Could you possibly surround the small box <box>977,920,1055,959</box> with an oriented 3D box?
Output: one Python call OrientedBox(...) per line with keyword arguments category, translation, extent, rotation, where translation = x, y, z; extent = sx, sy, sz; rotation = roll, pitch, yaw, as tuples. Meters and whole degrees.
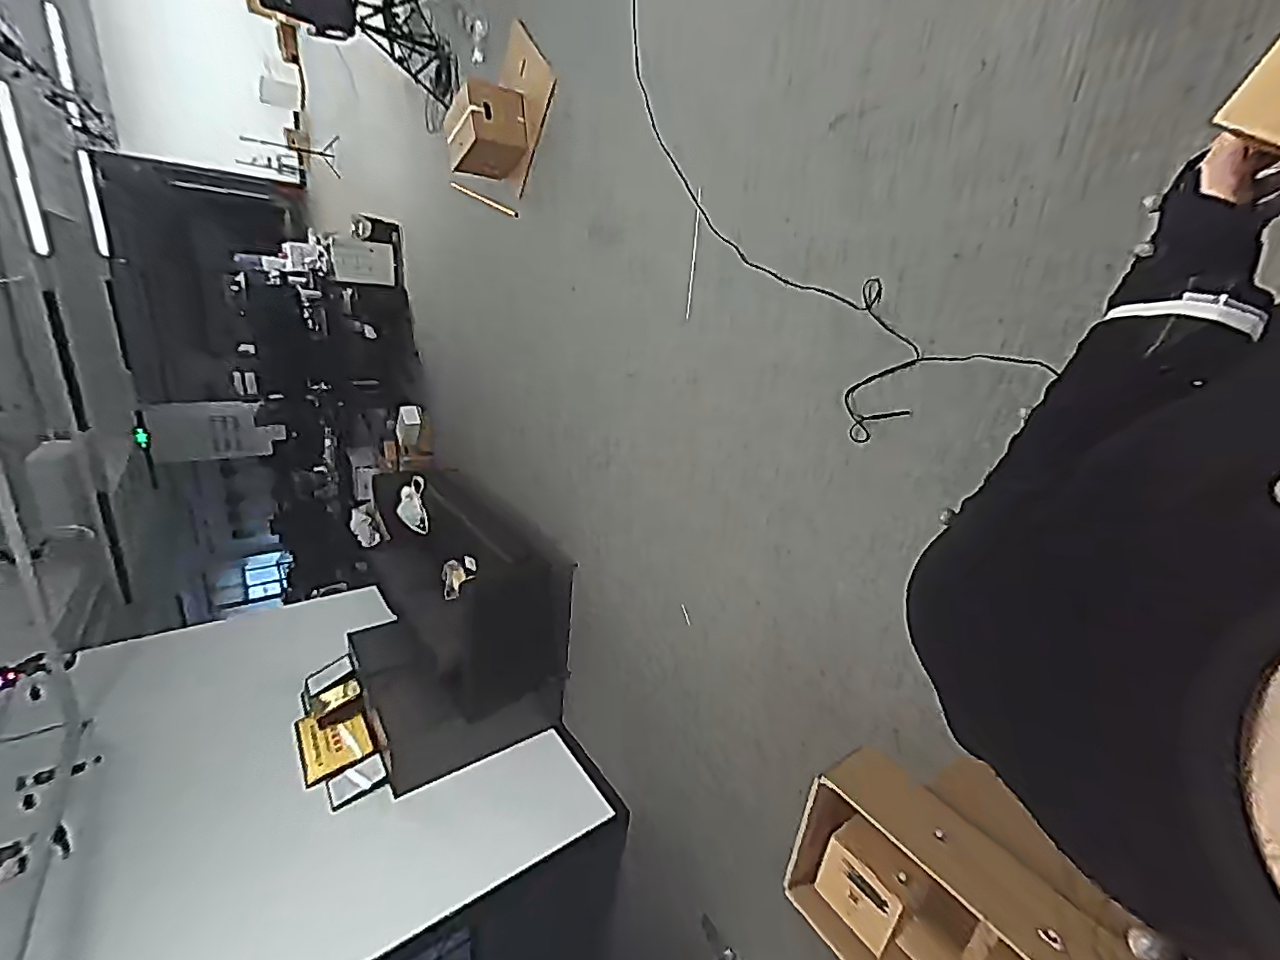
OrientedBox(category="small box", translation=(0.683, 0.953, 0.960), extent=(0.179, 0.176, 0.168), rotation=(33, 122, 47))
